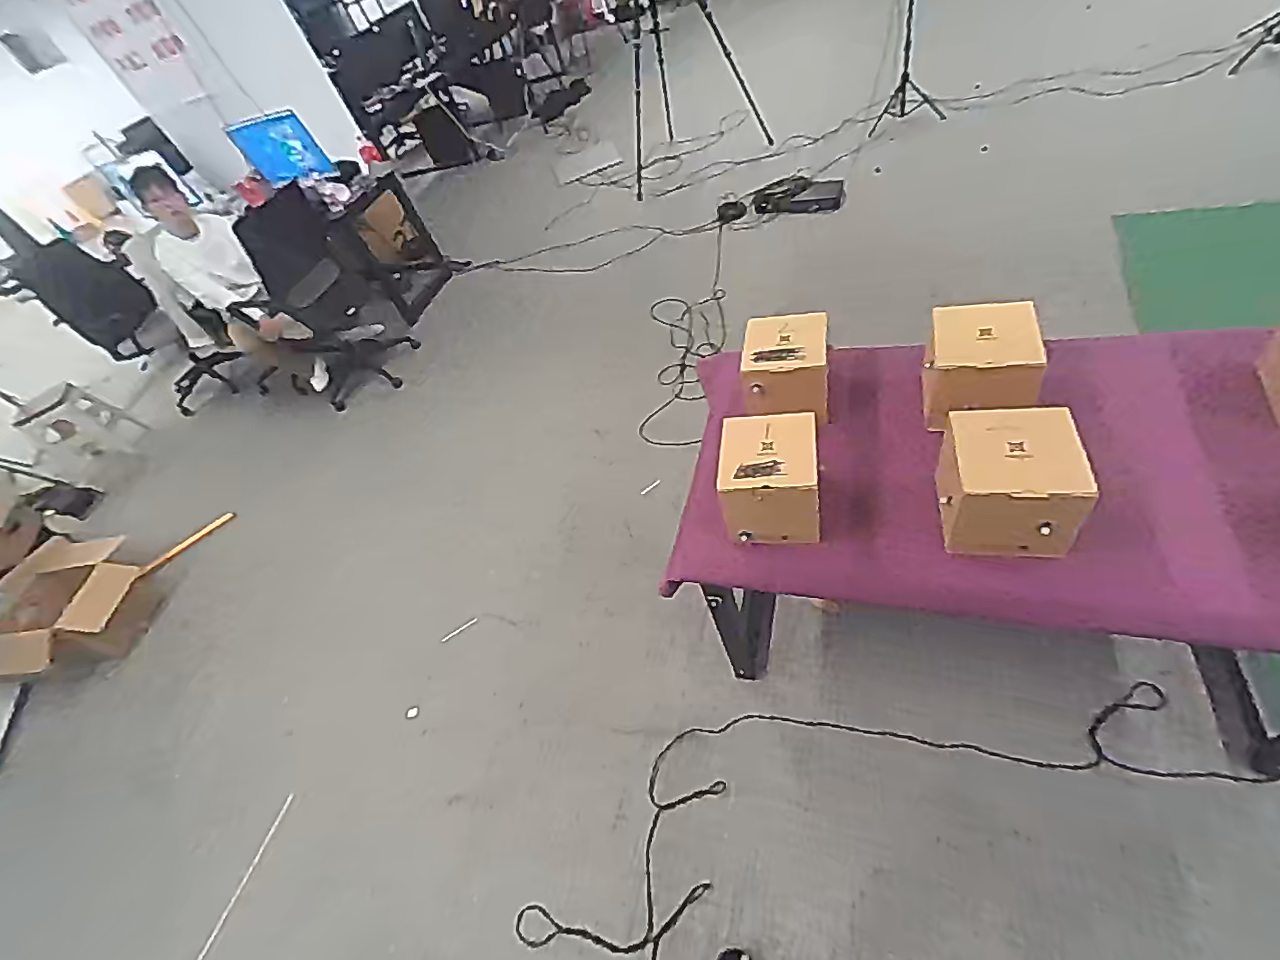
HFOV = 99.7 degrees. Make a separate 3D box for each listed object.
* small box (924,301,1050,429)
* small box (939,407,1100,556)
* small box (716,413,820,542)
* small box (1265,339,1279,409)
[{"bbox_3d":[0.644,-0.214,1.026,0.168,0.176,0.179,2,54,22],"label":"small box"},{"bbox_3d":[0.587,0.006,0.863,0.168,0.176,0.179,0,51,20],"label":"small box"},{"bbox_3d":[0.241,0.001,0.993,0.168,0.176,0.179,-2,49,18],"label":"small box"},{"bbox_3d":[1.122,-0.189,0.822,0.168,0.176,0.179,6,55,26],"label":"small box"}]
